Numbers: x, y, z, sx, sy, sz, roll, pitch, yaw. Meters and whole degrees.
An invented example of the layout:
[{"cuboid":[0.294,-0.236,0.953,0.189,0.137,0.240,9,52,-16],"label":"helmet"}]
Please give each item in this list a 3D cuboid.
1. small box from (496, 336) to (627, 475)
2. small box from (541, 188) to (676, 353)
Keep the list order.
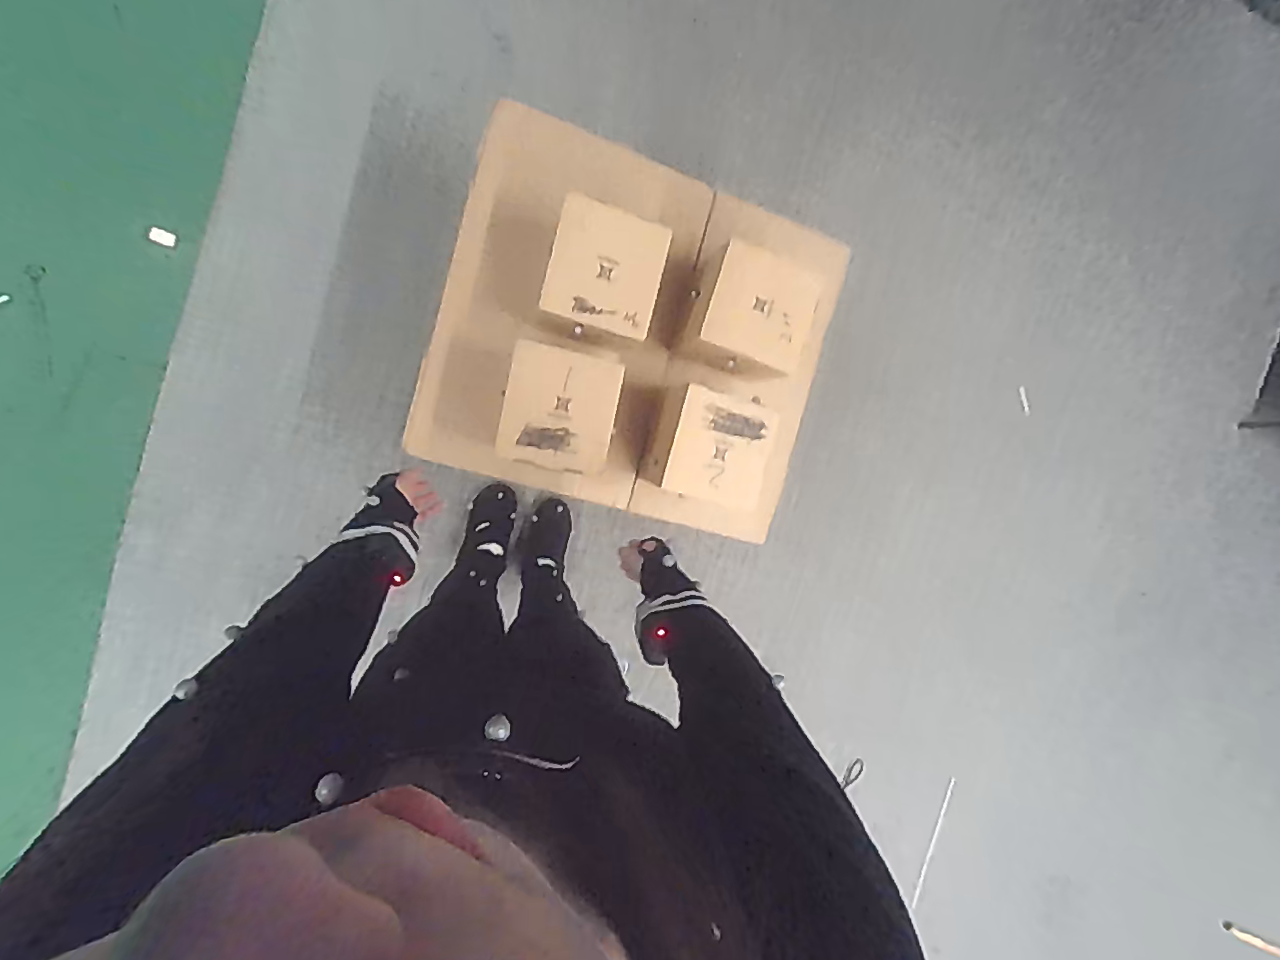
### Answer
[{"cuboid":[-0.130,-0.116,0.873,0.168,0.176,0.179,11,94,-14],"label":"small box"},{"cuboid":[-0.060,-0.319,0.864,0.168,0.176,0.179,14,92,-13],"label":"small box"}]
